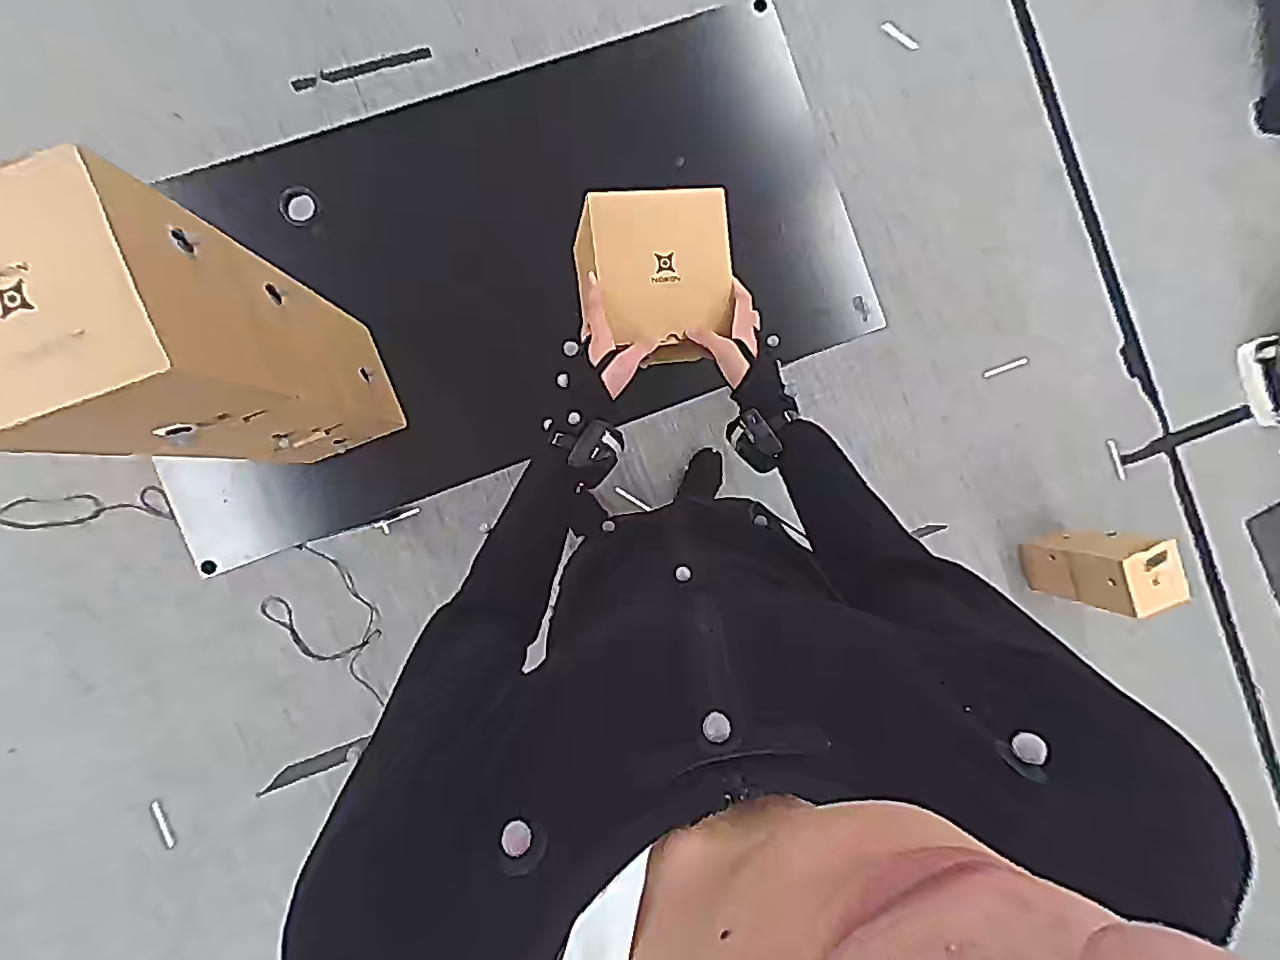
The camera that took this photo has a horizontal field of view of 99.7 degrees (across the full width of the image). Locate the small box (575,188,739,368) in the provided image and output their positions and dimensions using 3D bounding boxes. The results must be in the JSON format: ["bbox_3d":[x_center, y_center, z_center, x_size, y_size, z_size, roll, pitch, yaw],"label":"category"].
[{"bbox_3d":[0.012,-0.249,0.697,0.168,0.176,0.179,-8,96,-11],"label":"small box"}]

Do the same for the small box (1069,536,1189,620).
[{"bbox_3d":[1.358,0.264,1.513,0.168,0.176,0.179,-20,94,-5],"label":"small box"}]

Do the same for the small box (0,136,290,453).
[{"bbox_3d":[-0.443,-0.131,0.450,0.168,0.176,0.179,-22,93,-3],"label":"small box"}]

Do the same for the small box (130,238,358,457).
[{"bbox_3d":[-0.459,-0.133,0.612,0.168,0.176,0.179,-22,93,-4],"label":"small box"}]

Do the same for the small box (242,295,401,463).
[{"bbox_3d":[-0.474,-0.134,0.776,0.168,0.176,0.179,-23,93,-5],"label":"small box"}]
